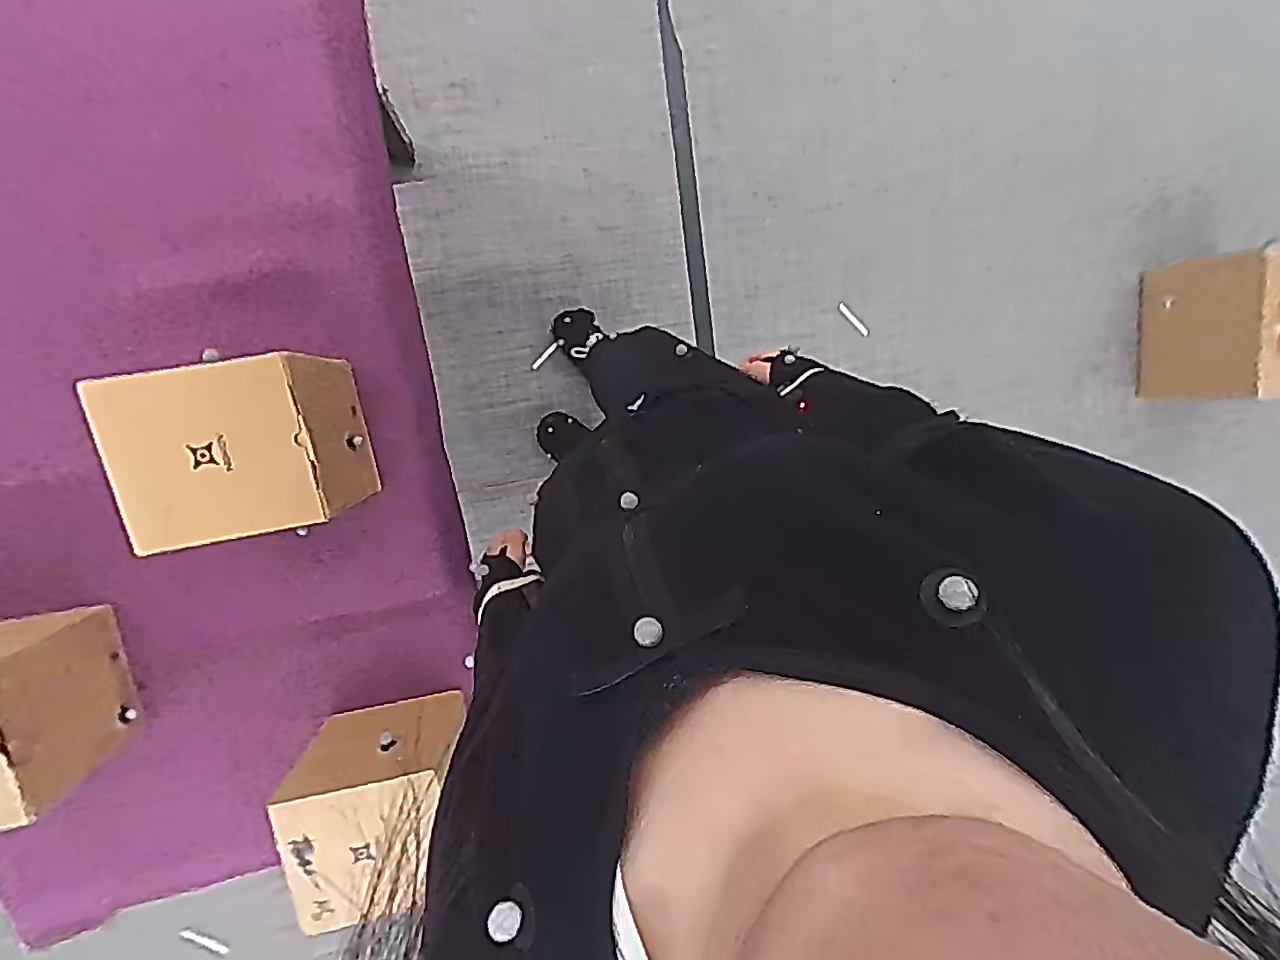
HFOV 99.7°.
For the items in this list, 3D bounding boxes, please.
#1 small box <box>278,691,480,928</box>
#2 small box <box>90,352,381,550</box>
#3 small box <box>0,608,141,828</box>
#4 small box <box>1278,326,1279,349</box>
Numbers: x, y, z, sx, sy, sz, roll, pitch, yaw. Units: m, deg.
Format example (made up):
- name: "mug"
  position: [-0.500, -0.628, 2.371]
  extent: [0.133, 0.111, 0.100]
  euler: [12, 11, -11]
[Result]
- name: "small box"
  position: [-0.302, 0.389, 0.673]
  extent: [0.179, 0.176, 0.168]
  euler: [-9, 100, -9]
- name: "small box"
  position: [-0.414, -0.038, 0.590]
  extent: [0.179, 0.176, 0.168]
  euler: [-12, 100, -8]
- name: "small box"
  position: [-0.693, 0.253, 0.581]
  extent: [0.179, 0.176, 0.168]
  euler: [-9, 100, -10]
- name: "small box"
  position: [1.792, -0.424, 1.372]
  extent: [0.168, 0.176, 0.179]
  euler: [-11, 101, -7]
